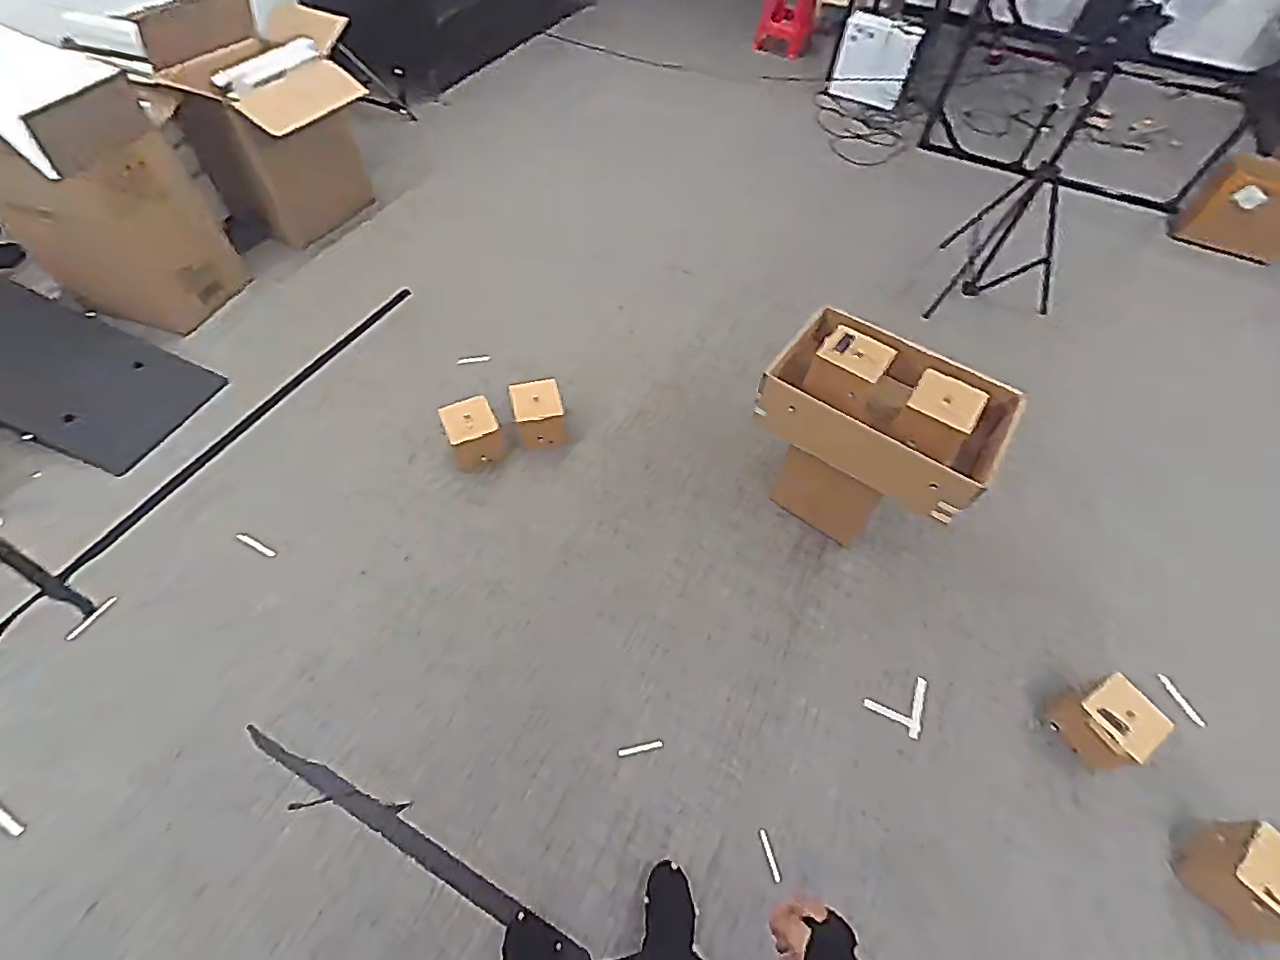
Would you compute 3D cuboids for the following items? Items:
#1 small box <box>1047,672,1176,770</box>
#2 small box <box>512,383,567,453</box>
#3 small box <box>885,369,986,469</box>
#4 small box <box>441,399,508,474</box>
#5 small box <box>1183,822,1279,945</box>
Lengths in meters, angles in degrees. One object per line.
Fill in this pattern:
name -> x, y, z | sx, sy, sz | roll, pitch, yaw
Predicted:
small box -> 1.250, 0.651, 1.451 | 0.179, 0.176, 0.168 | -26, 61, -19
small box -> -0.365, -0.225, 1.972 | 0.168, 0.176, 0.179 | -13, 58, -11
small box -> 0.798, -0.164, 1.474 | 0.168, 0.176, 0.179 | 31, 57, 19
small box -> -0.582, -0.152, 1.908 | 0.168, 0.176, 0.179 | -22, 60, -16
small box -> 1.448, 0.940, 1.265 | 0.179, 0.176, 0.168 | -32, 63, -23
